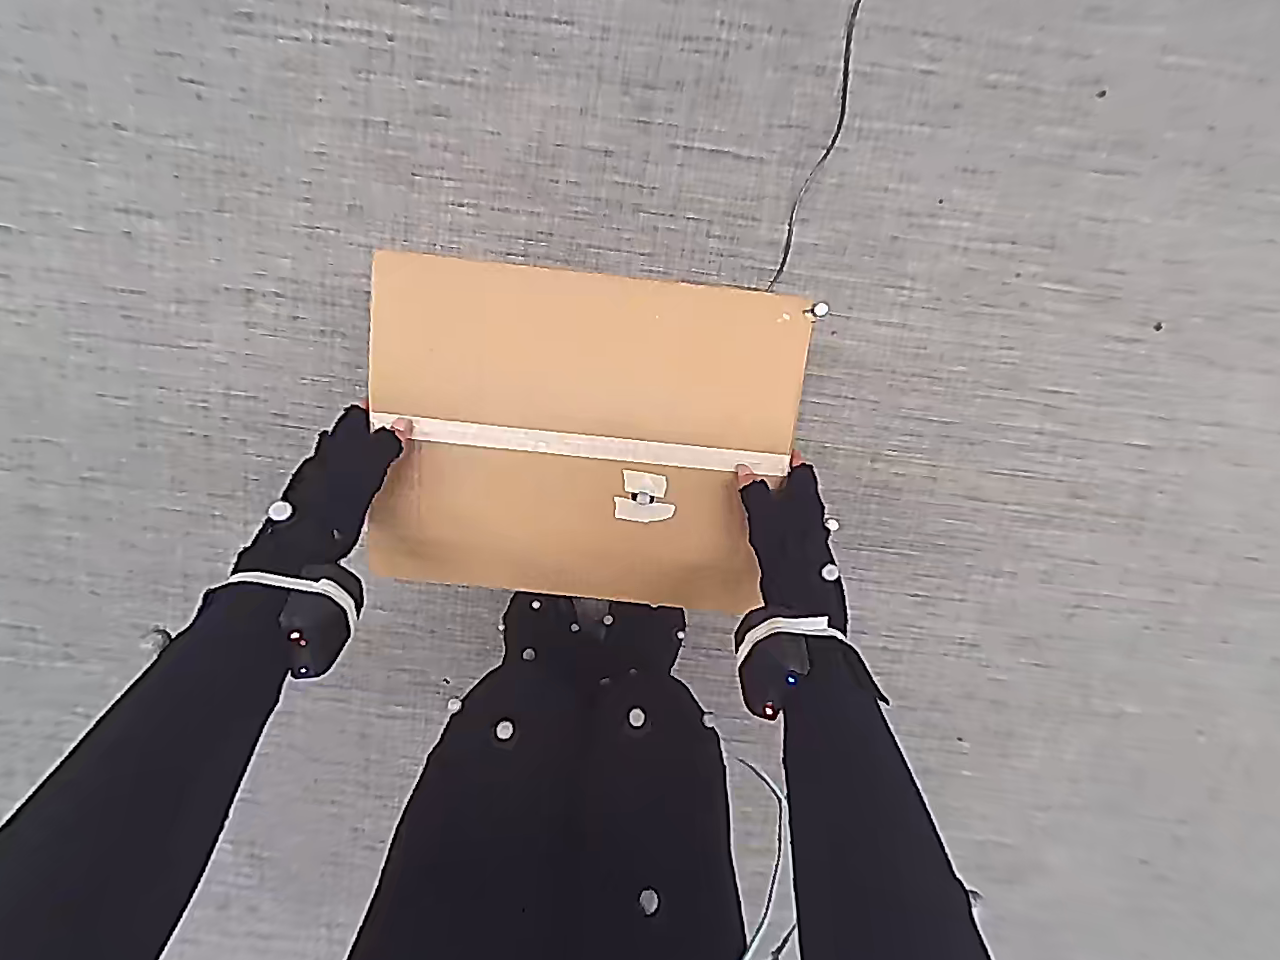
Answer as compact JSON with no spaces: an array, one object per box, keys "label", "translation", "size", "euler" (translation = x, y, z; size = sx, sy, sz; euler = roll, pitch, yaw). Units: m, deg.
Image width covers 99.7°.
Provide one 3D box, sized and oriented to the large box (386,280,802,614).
[{"label":"large box","translation":[-0.057,-0.048,0.688],"size":[0.408,0.320,0.320],"euler":[6,101,-2]}]
